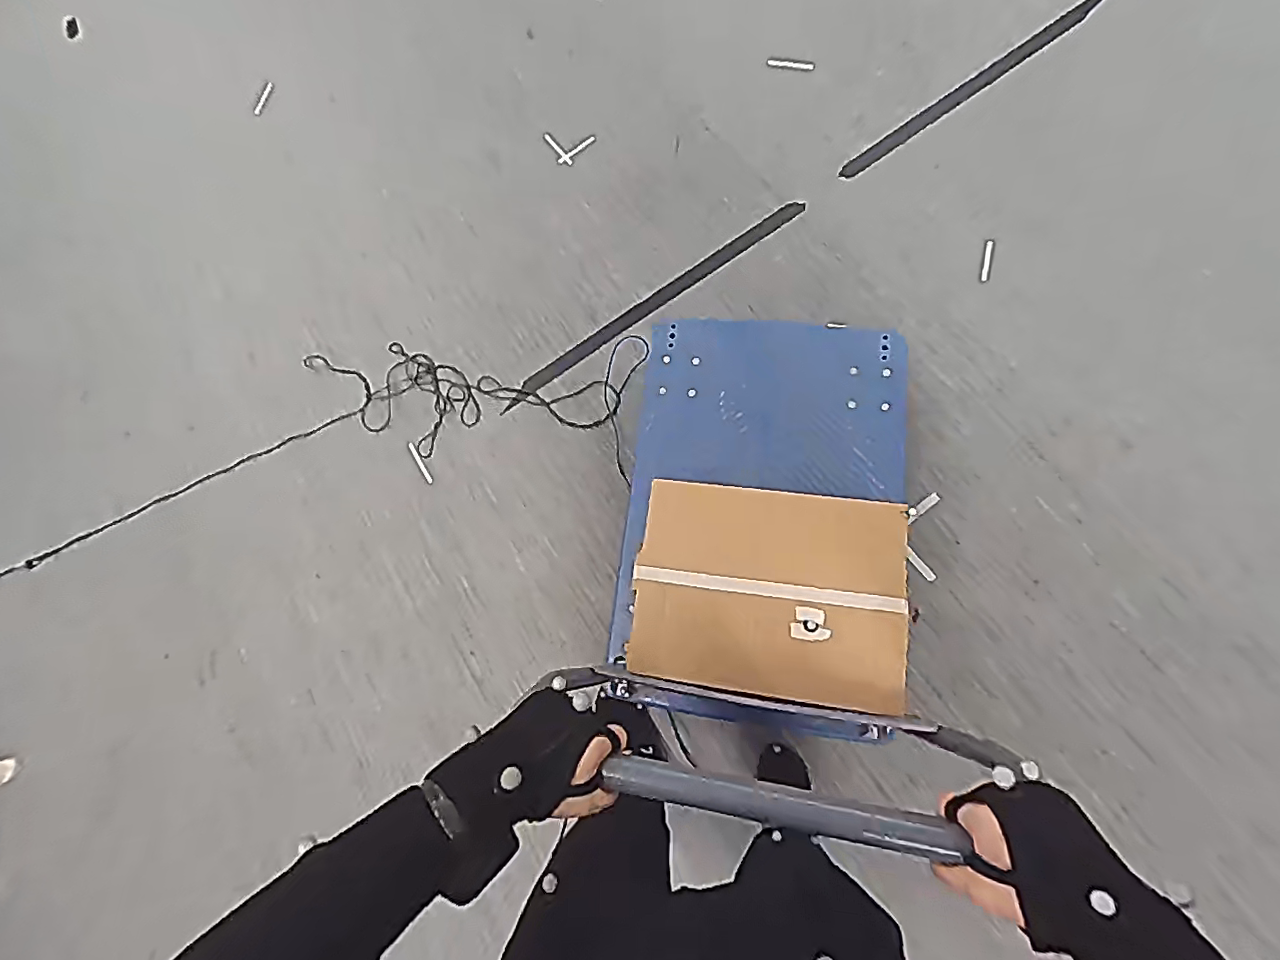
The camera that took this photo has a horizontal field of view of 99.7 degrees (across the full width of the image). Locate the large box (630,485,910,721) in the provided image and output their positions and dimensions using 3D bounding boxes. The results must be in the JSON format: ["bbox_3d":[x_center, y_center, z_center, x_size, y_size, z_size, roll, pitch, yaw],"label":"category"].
[{"bbox_3d":[0.214,0.212,0.958,0.408,0.320,0.320,6,76,9],"label":"large box"}]
